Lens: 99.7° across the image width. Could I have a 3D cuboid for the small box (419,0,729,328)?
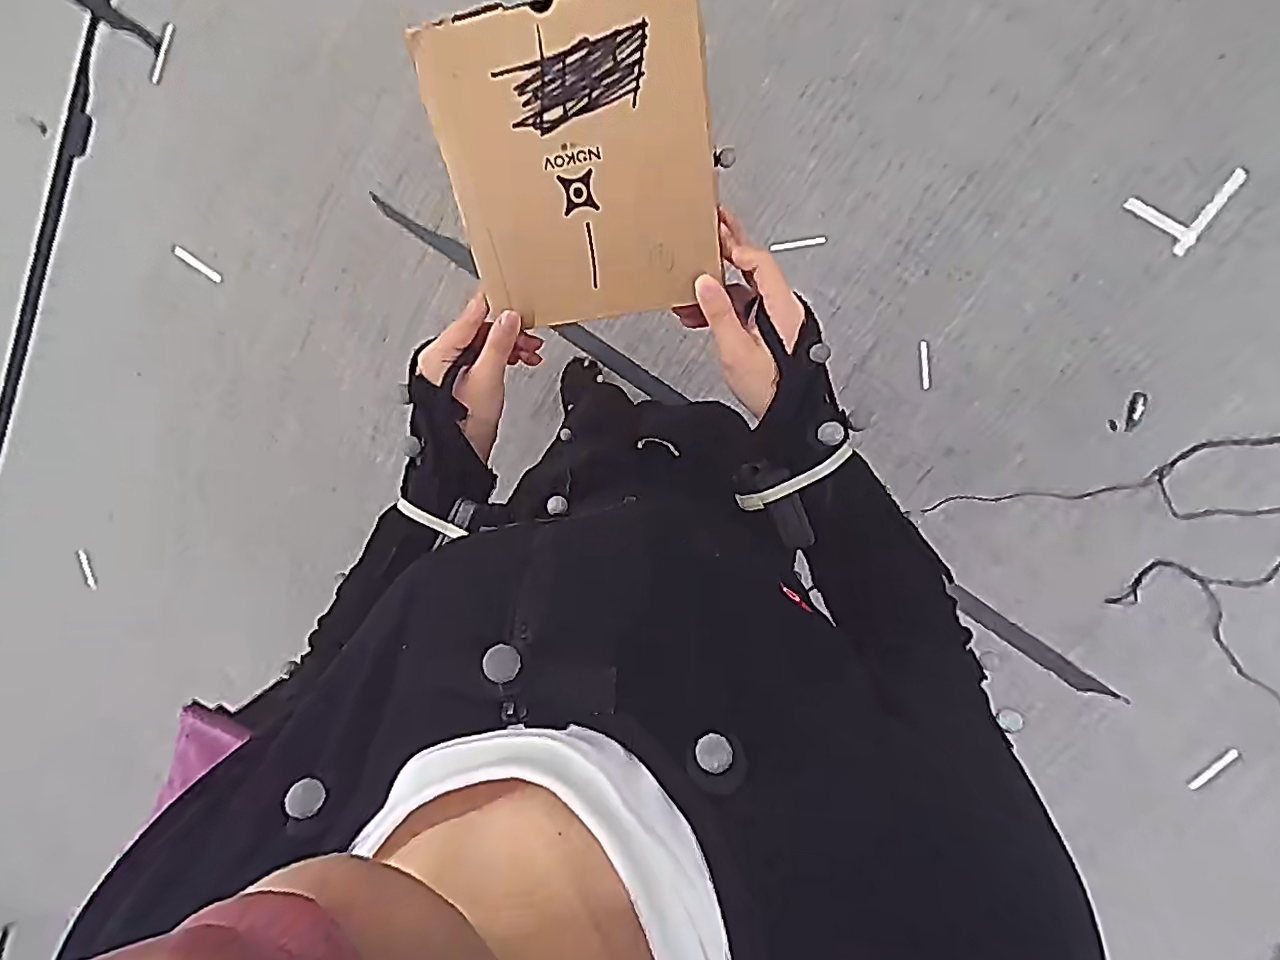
[{"bbox_3d":[-0.024,-0.228,0.399,0.168,0.176,0.179,-4,121,11],"label":"small box"}]
